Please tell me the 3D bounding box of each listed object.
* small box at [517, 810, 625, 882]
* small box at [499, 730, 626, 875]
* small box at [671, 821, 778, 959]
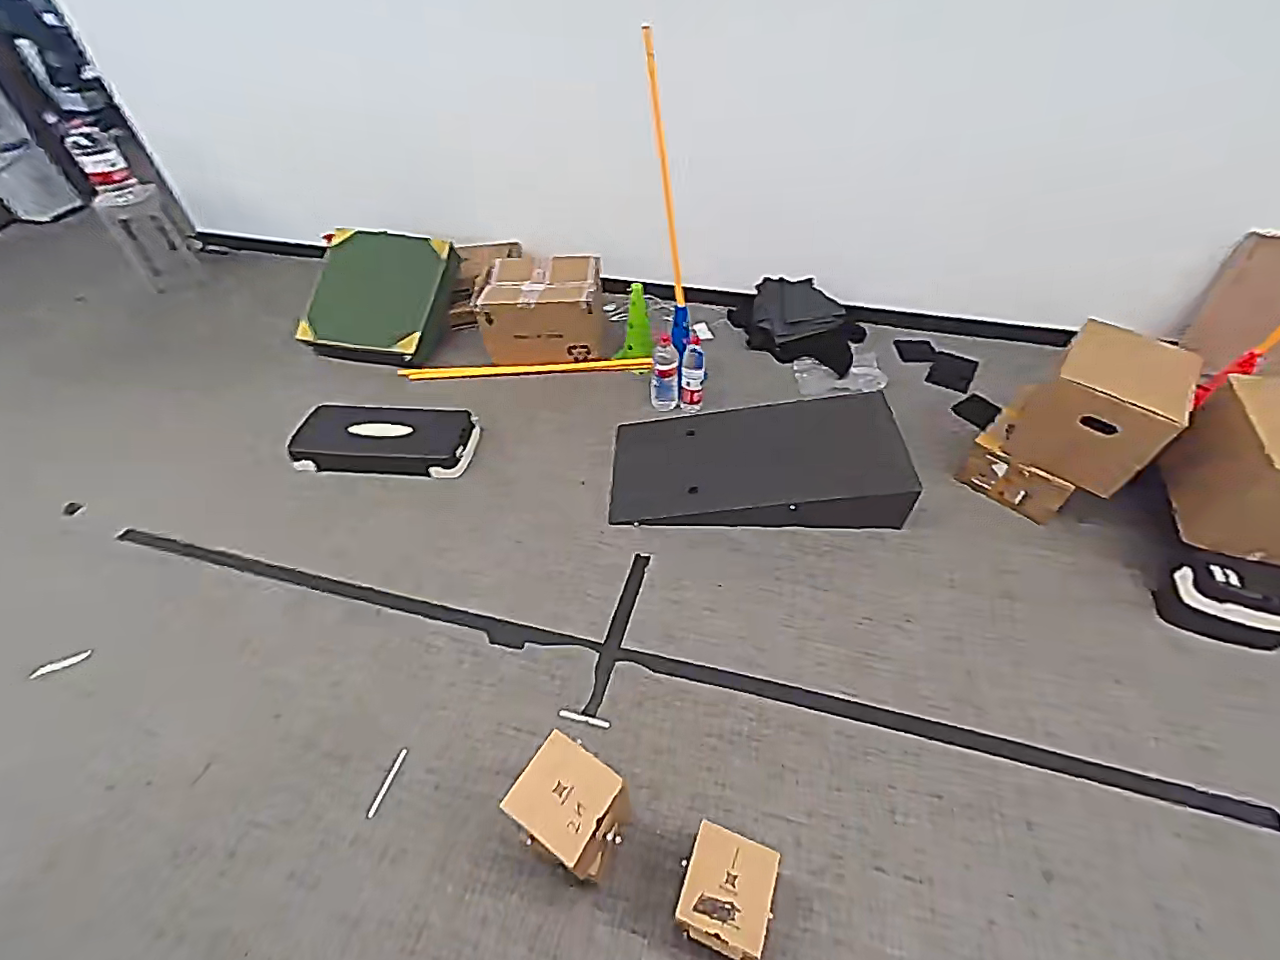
[{"bbox_3d":[-0.140,0.747,1.180,0.179,0.176,0.168,17,50,14],"label":"small box"},{"bbox_3d":[-0.142,0.634,1.059,0.179,0.176,0.168,26,54,23],"label":"small box"},{"bbox_3d":[0.169,0.836,1.096,0.168,0.176,0.179,17,50,15],"label":"small box"}]
